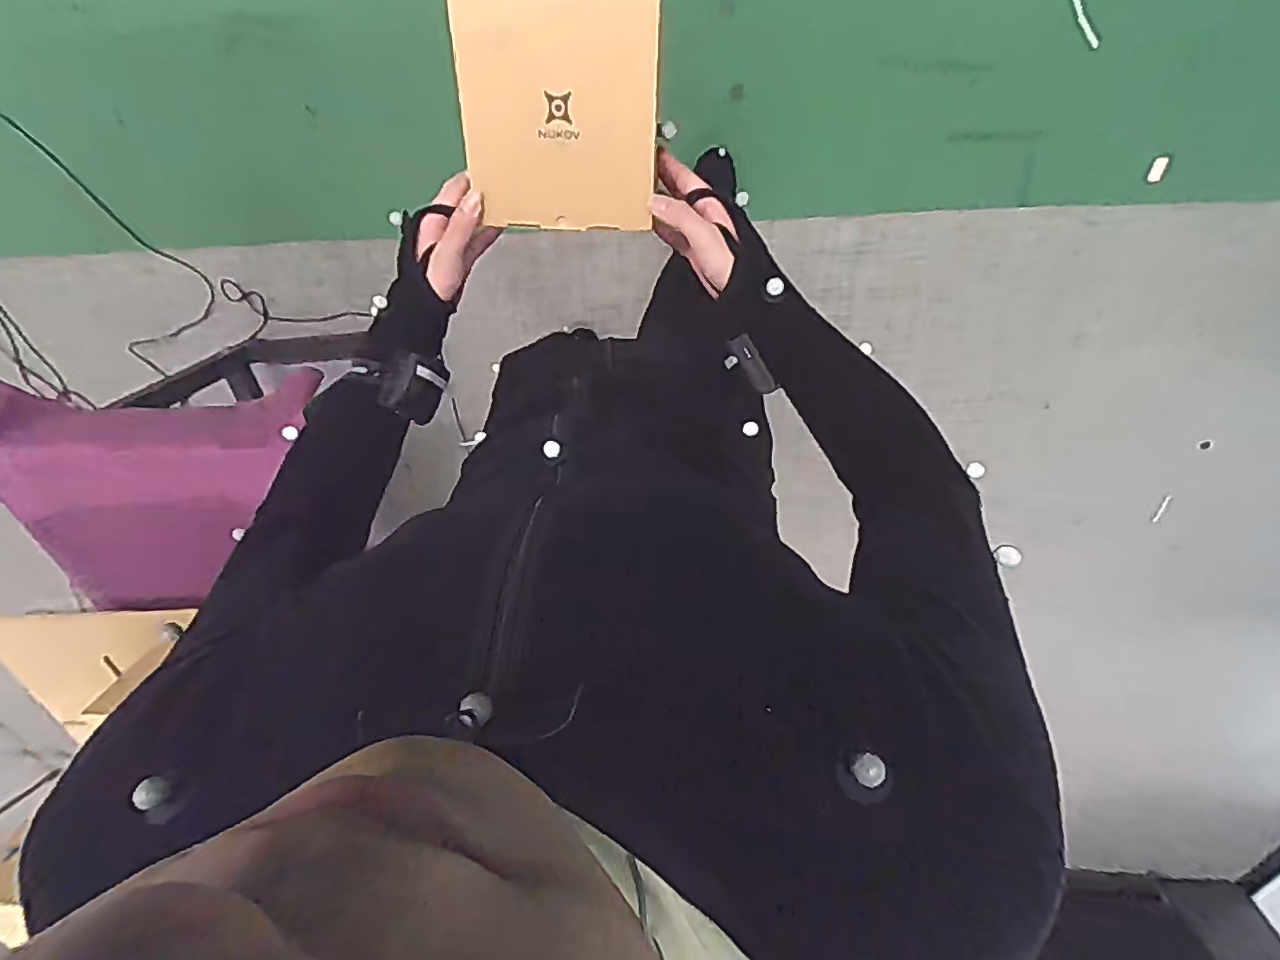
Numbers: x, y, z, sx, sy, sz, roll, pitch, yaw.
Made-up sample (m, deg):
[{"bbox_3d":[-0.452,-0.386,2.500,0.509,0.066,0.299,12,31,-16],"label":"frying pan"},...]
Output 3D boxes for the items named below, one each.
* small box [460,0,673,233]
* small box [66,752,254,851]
[{"bbox_3d":[-0.057,-0.344,0.517,0.168,0.176,0.179,3,122,1],"label":"small box"},{"bbox_3d":[-0.904,0.578,1.039,0.179,0.176,0.168,-3,120,5],"label":"small box"}]
